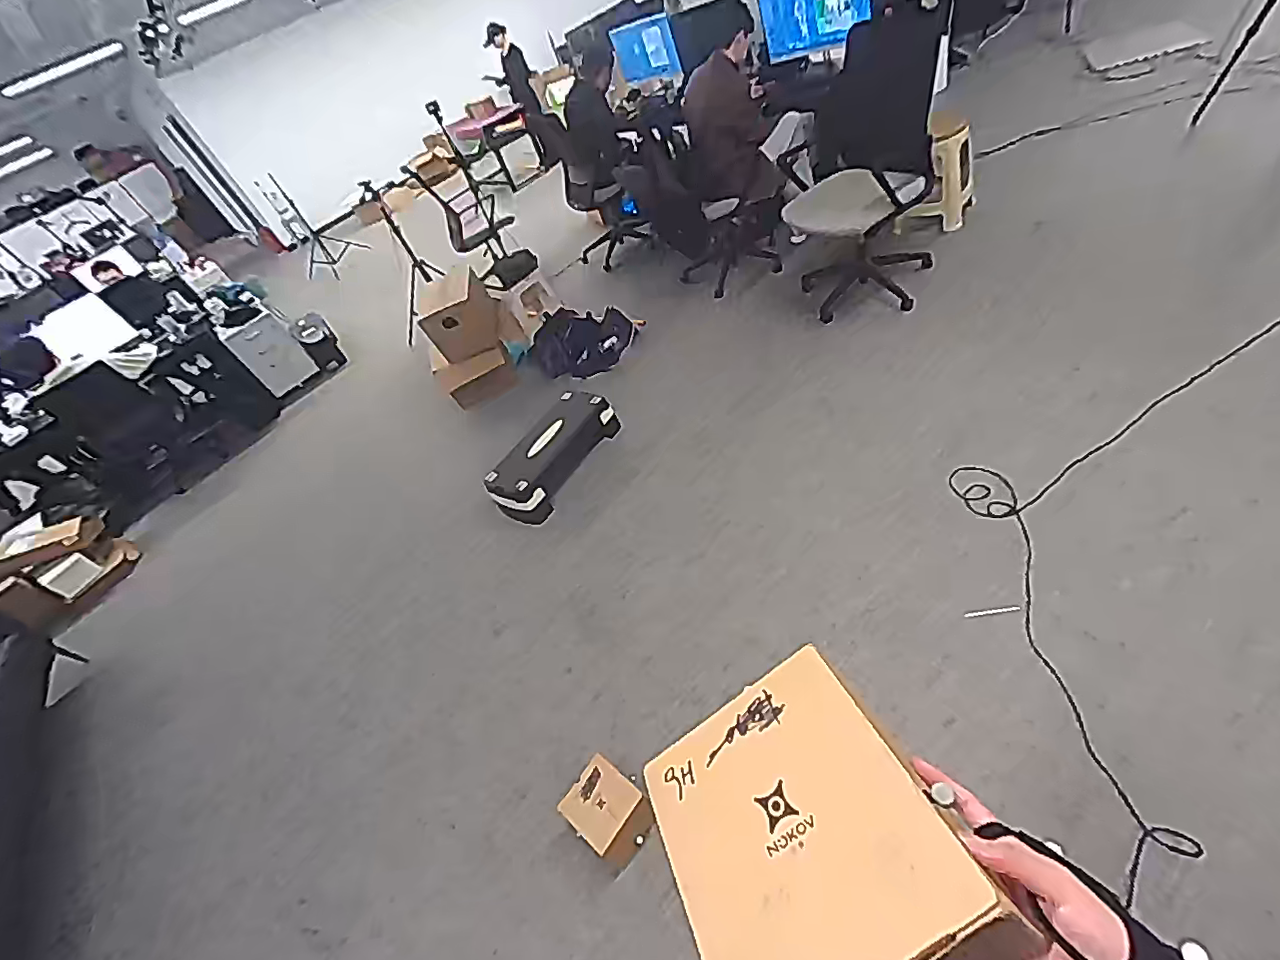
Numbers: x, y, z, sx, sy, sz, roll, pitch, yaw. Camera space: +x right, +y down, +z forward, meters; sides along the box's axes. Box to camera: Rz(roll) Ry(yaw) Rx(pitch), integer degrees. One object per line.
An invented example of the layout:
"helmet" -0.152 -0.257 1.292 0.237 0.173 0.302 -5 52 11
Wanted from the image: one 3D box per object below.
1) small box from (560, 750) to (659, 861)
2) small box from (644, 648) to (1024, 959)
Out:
"small box" -0.072 0.859 1.422 0.179 0.176 0.168 22 61 39
"small box" 0.136 0.264 0.393 0.168 0.176 0.179 -39 36 6
